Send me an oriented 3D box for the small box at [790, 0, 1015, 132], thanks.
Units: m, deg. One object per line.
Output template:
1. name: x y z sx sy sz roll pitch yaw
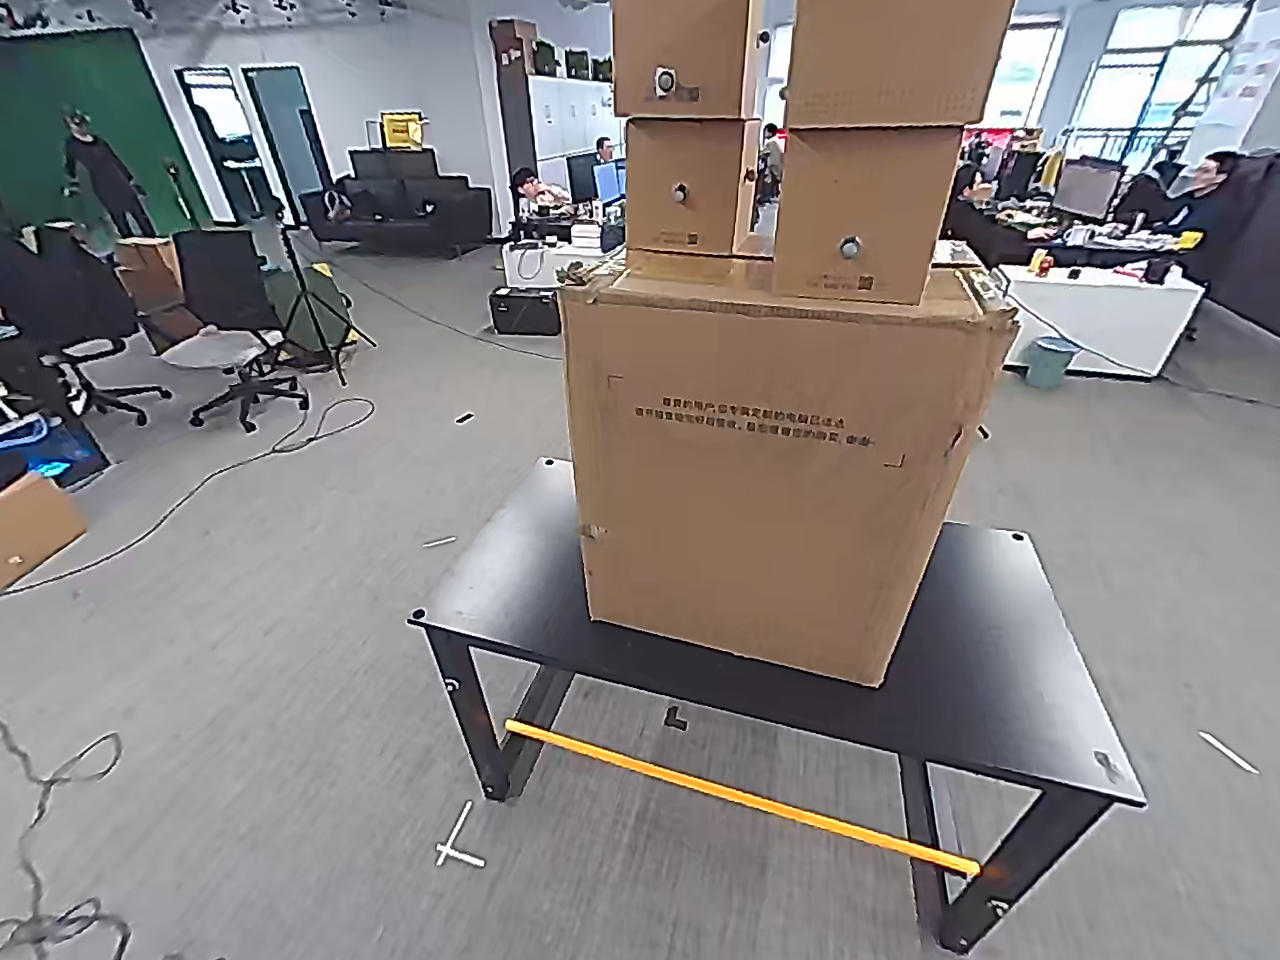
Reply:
1. small box: 0.243 -0.435 0.517 0.179 0.176 0.168 8 36 13

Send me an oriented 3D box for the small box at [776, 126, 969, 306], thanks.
1. small box: 0.259 -0.316 0.633 0.168 0.176 0.179 9 36 17

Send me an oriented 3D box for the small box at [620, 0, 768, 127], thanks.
1. small box: 0.071 -0.562 0.700 0.168 0.176 0.179 7 35 12

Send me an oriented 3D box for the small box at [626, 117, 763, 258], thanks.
1. small box: 0.085 -0.444 0.819 0.168 0.176 0.179 10 36 14
